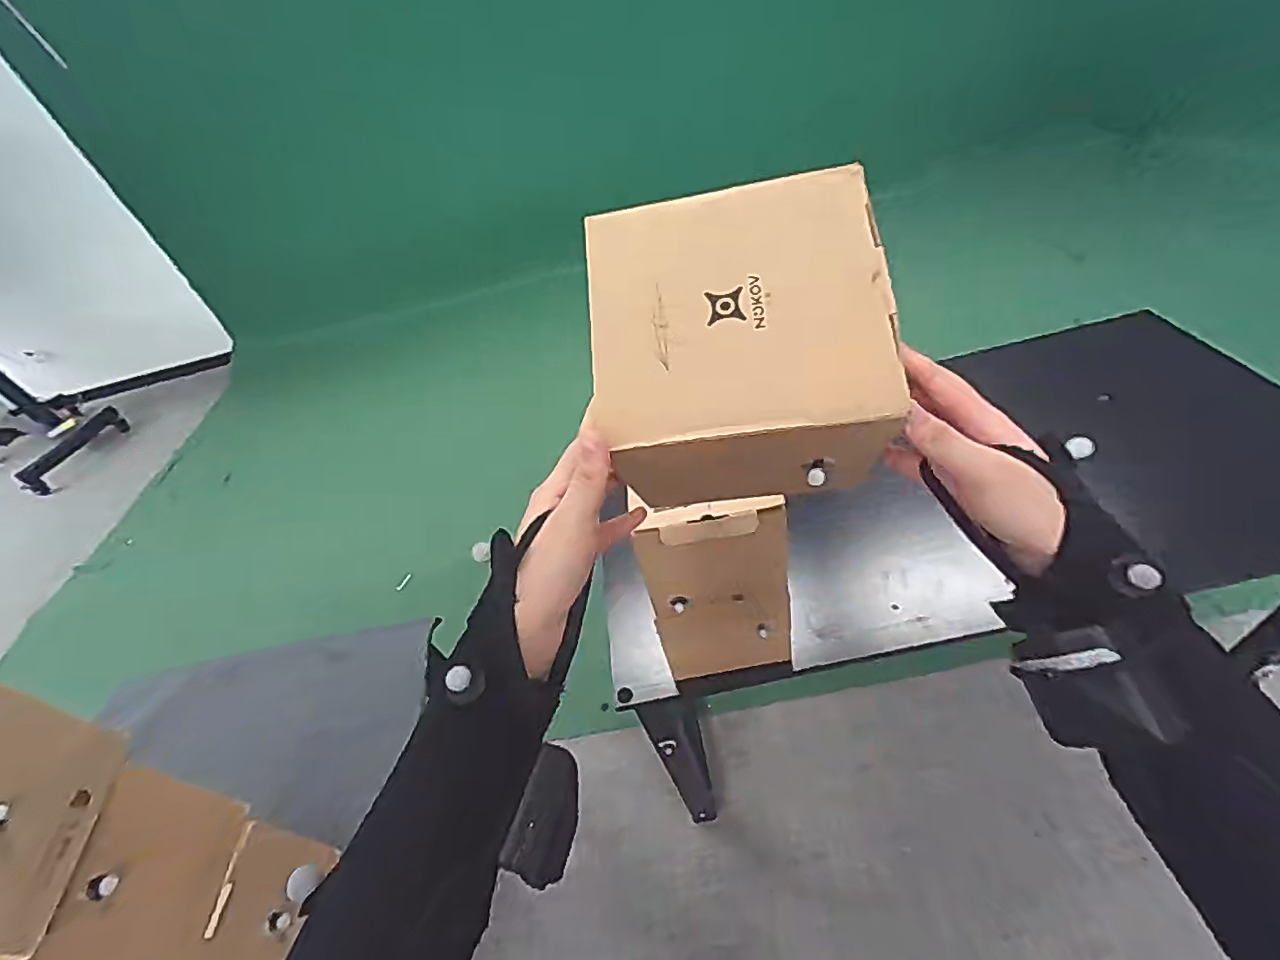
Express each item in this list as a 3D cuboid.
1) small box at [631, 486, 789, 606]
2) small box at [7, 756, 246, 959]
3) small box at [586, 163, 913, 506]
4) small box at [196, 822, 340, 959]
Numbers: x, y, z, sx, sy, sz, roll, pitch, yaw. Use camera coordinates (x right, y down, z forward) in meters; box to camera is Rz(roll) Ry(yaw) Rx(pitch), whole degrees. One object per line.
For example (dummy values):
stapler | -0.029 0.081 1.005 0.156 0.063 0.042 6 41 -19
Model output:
small box | 0.085 0.040 0.670 0.168 0.176 0.179 -10 43 6
small box | -0.526 0.390 0.509 0.168 0.176 0.179 -13 45 6
small box | 0.070 -0.084 0.395 0.179 0.176 0.168 -8 73 10
small box | -0.486 0.508 0.615 0.179 0.176 0.168 -11 45 7
